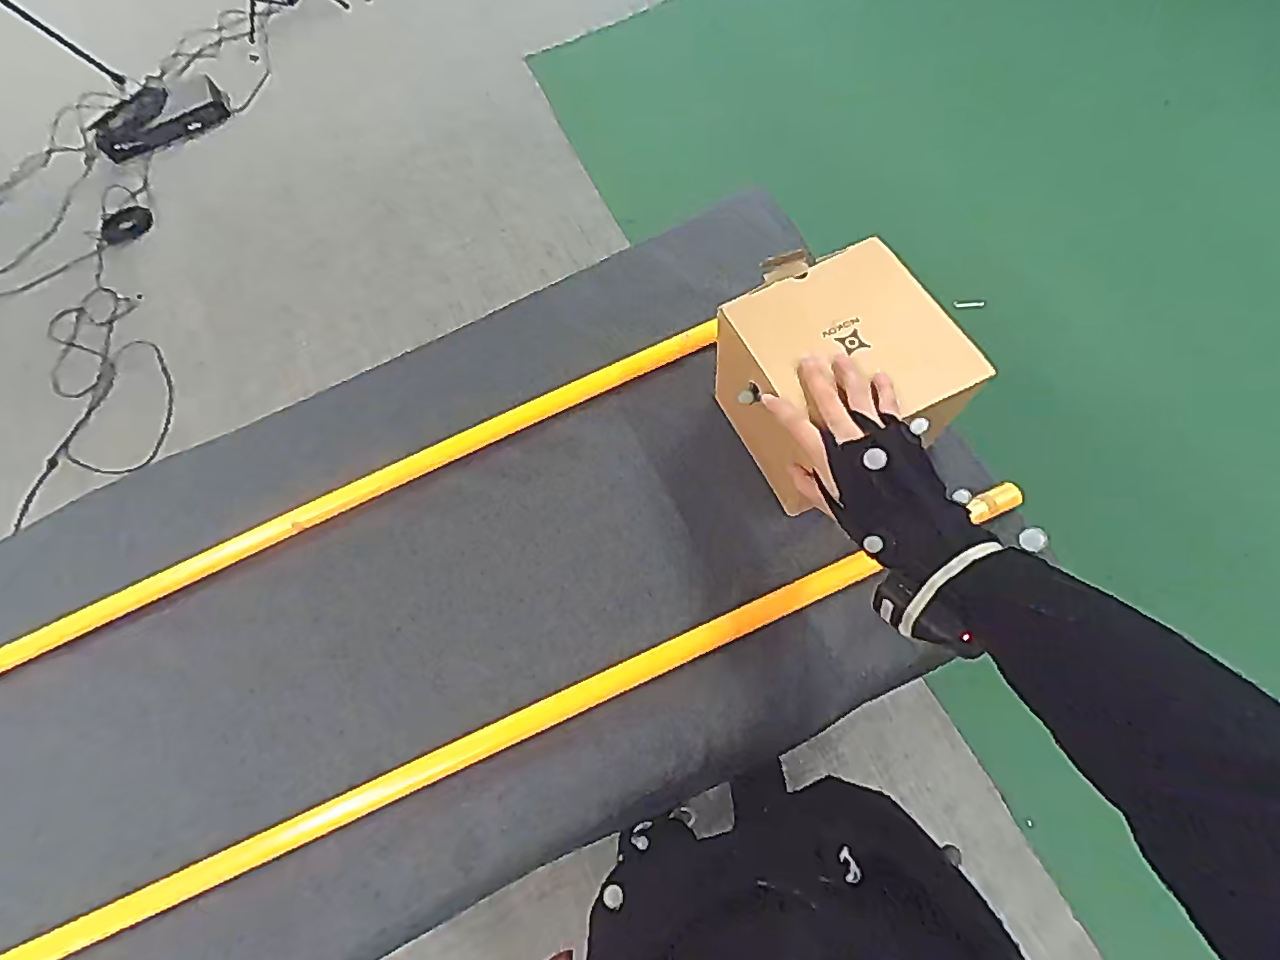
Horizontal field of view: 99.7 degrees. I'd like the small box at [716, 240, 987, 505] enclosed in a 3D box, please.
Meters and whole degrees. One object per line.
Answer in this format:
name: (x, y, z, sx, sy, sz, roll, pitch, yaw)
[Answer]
small box: (0.190, -0.092, 0.544, 0.168, 0.176, 0.179, -25, 67, -3)
